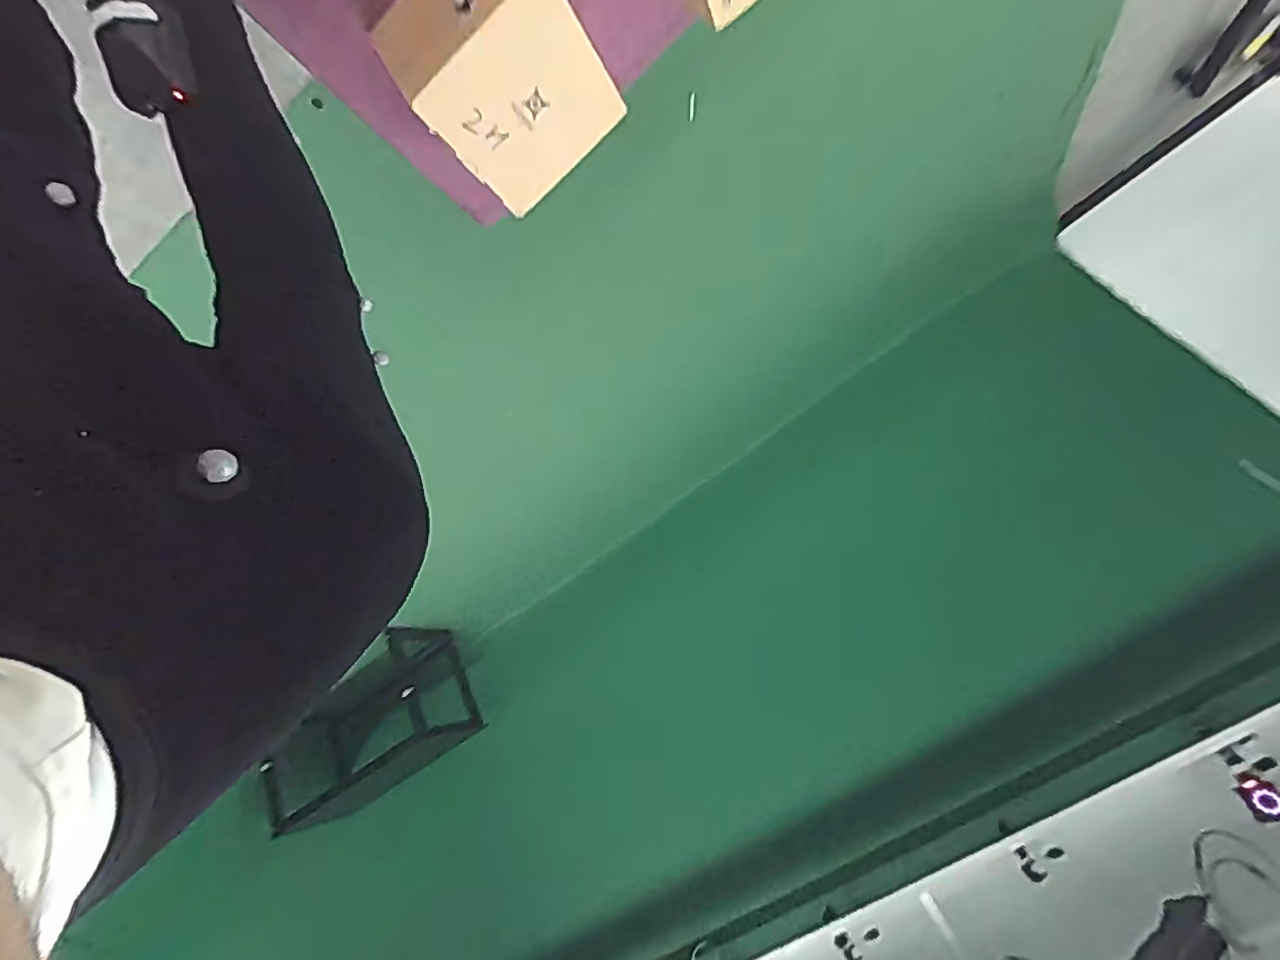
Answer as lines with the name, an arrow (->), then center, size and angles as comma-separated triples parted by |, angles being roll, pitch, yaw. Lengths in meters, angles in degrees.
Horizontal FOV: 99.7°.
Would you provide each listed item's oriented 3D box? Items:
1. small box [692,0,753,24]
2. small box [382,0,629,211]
small box -> 0.087, -0.621, 0.528 | 0.179, 0.176, 0.168 | -36, 153, 11
small box -> -0.147, -0.448, 0.586 | 0.179, 0.176, 0.168 | -36, 152, 14
